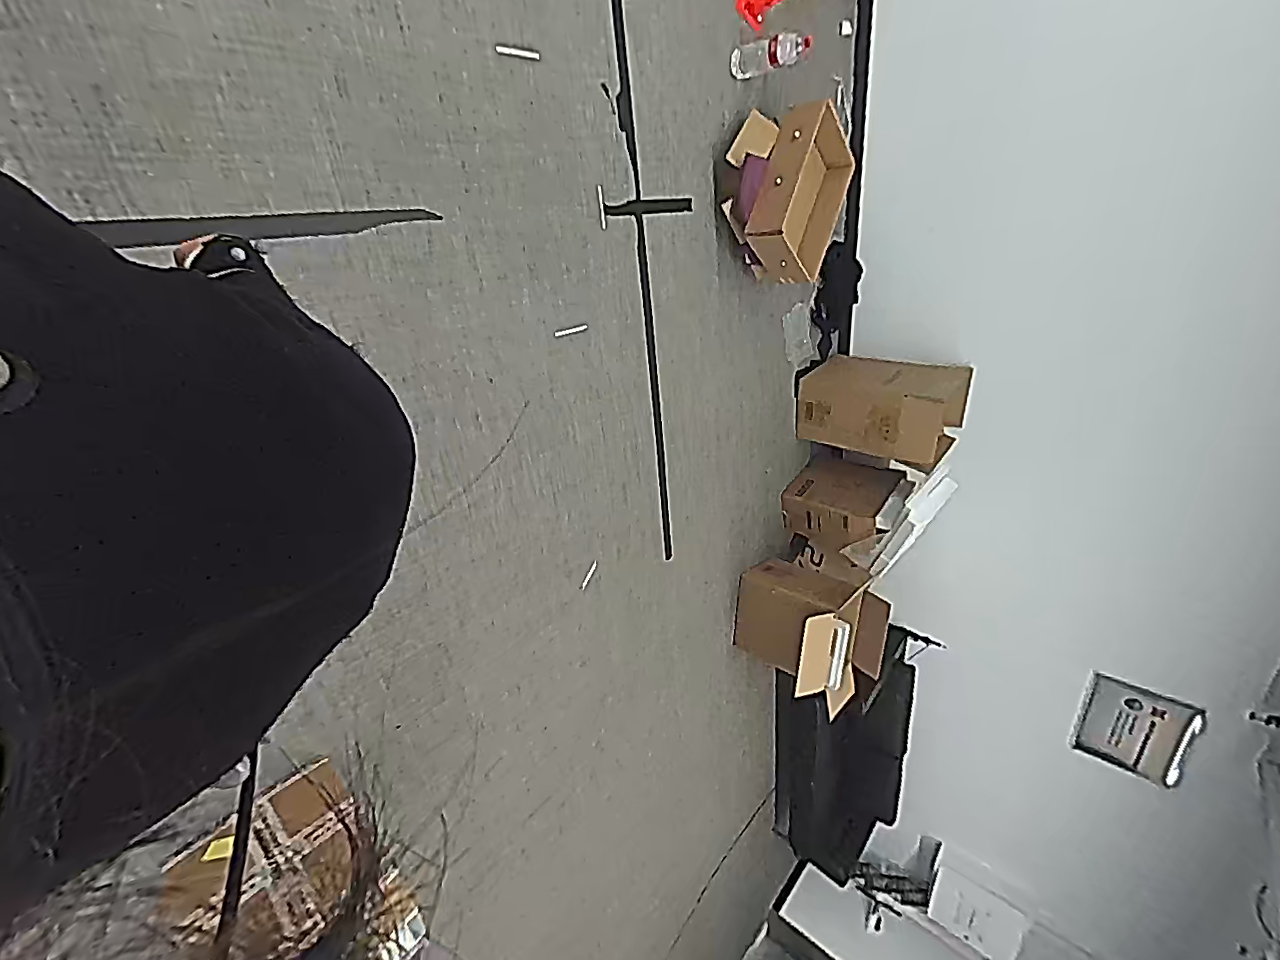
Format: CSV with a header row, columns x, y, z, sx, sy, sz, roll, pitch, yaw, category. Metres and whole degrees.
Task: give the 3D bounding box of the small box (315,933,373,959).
x,y,z,sx,sy,sz,roll,pitch,yaw,category
-0.640,1.141,1.163,0.168,0.176,0.179,-30,121,-41,small box
